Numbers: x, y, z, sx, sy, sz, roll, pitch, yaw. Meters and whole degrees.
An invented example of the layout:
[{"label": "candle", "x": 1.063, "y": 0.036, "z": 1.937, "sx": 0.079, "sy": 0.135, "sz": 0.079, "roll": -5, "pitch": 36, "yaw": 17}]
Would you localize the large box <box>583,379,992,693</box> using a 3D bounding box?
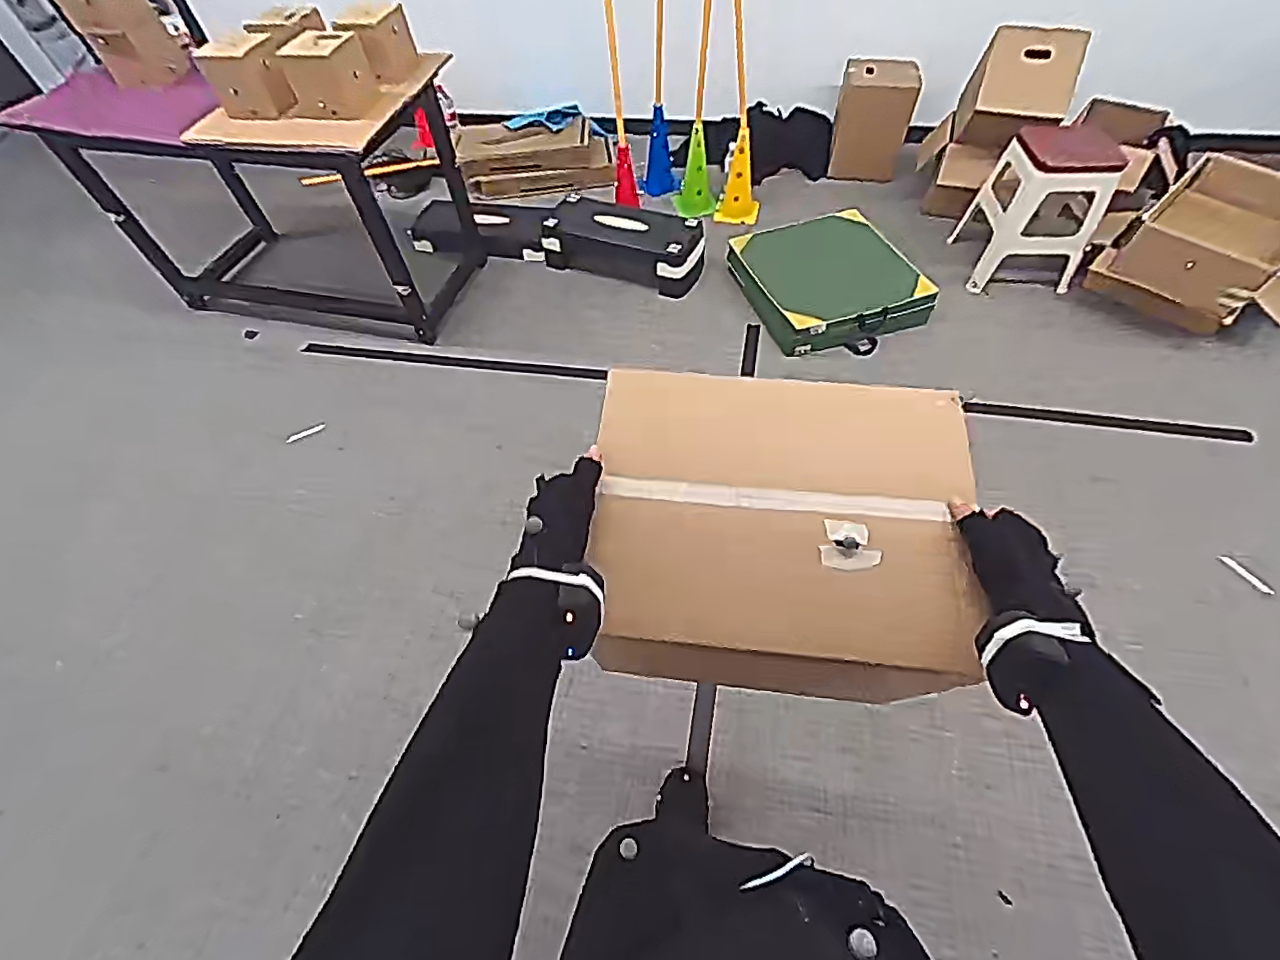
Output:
[{"label": "large box", "x": 0.156, "y": 0.091, "z": 0.724, "sx": 0.408, "sy": 0.320, "sz": 0.320, "roll": 5, "pitch": 65, "yaw": 4}]
